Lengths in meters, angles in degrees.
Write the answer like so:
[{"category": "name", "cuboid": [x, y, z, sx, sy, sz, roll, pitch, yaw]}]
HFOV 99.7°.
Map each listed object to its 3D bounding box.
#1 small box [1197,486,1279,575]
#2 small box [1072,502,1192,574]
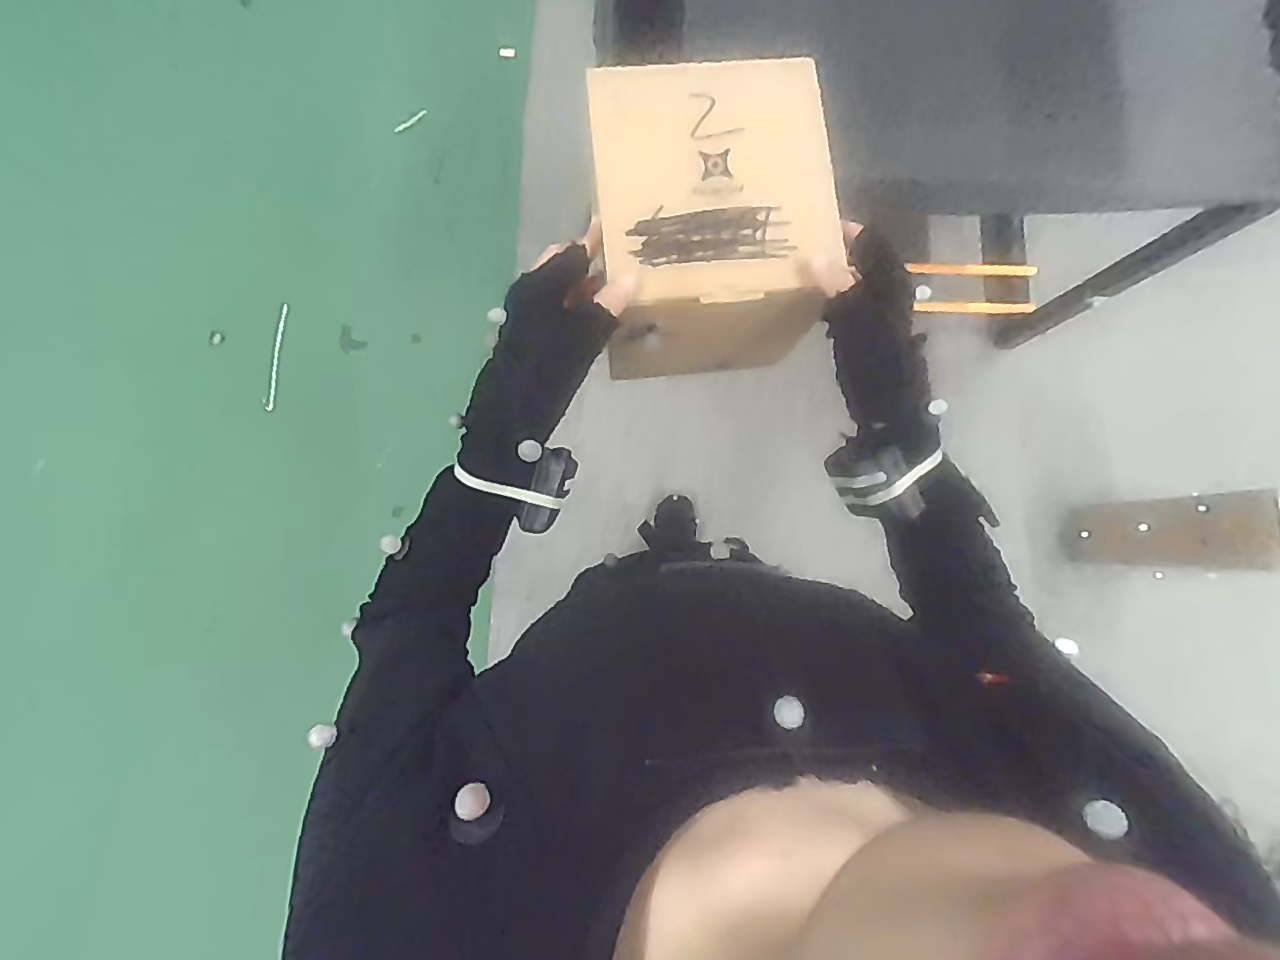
[{"category": "small box", "cuboid": [1.323, 0.110, 1.127, 0.179, 0.176, 0.168, 5, 83, -1]}, {"category": "small box", "cuboid": [1.313, 0.157, 1.450, 0.179, 0.176, 0.168, 7, 81, 0]}]
